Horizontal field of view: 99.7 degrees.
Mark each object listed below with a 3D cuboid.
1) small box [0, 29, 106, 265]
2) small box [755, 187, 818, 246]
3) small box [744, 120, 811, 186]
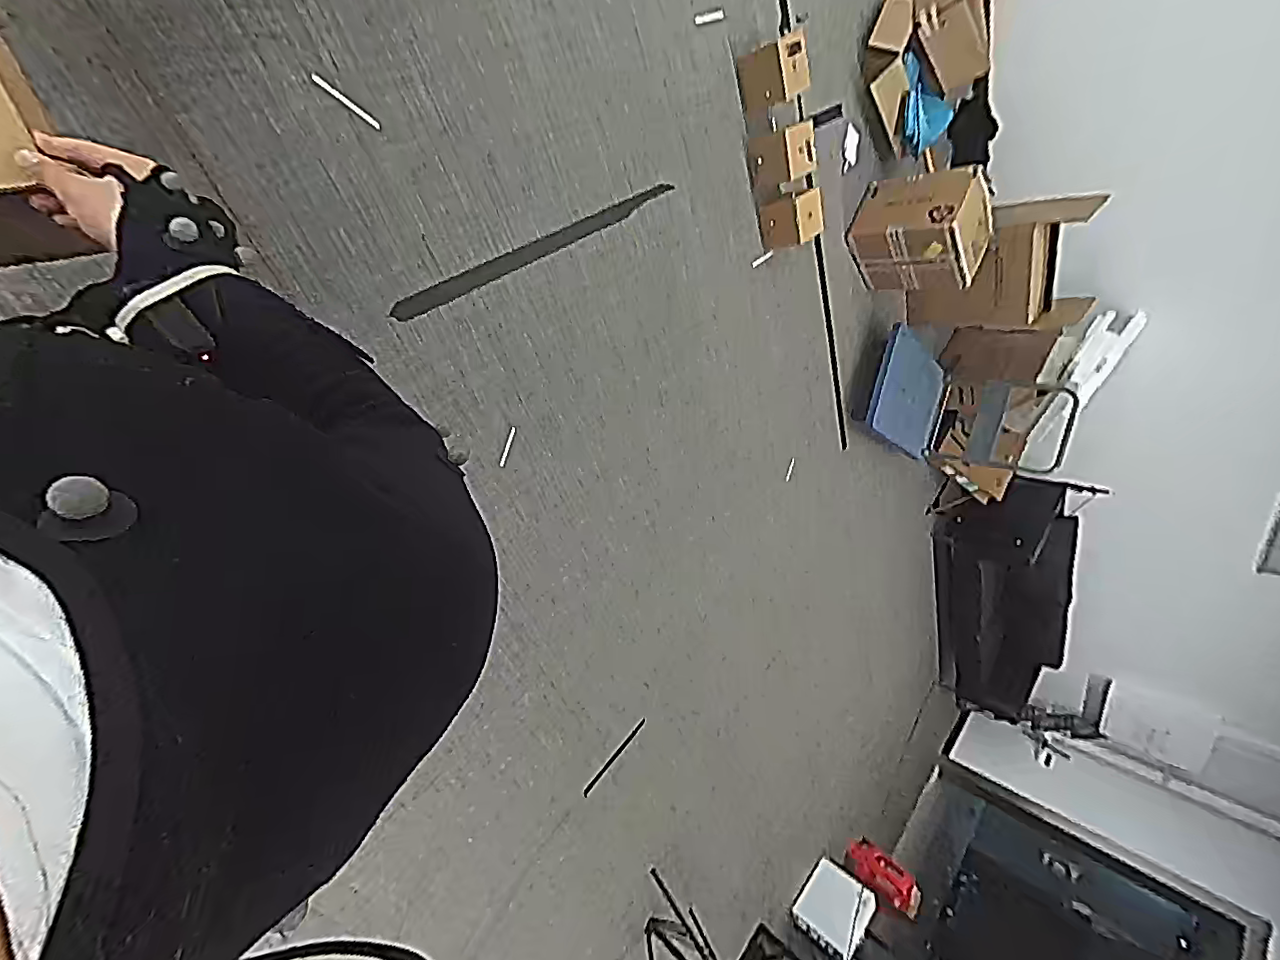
[{"bbox_3d":[-0.538,-0.263,0.383,0.168,0.176,0.179,-25,108,-31],"label":"small box"},{"bbox_3d":[0.584,-1.046,2.150,0.179,0.176,0.168,-40,127,-29],"label":"small box"},{"bbox_3d":[0.515,-1.222,2.025,0.179,0.176,0.168,-38,126,-30],"label":"small box"}]
